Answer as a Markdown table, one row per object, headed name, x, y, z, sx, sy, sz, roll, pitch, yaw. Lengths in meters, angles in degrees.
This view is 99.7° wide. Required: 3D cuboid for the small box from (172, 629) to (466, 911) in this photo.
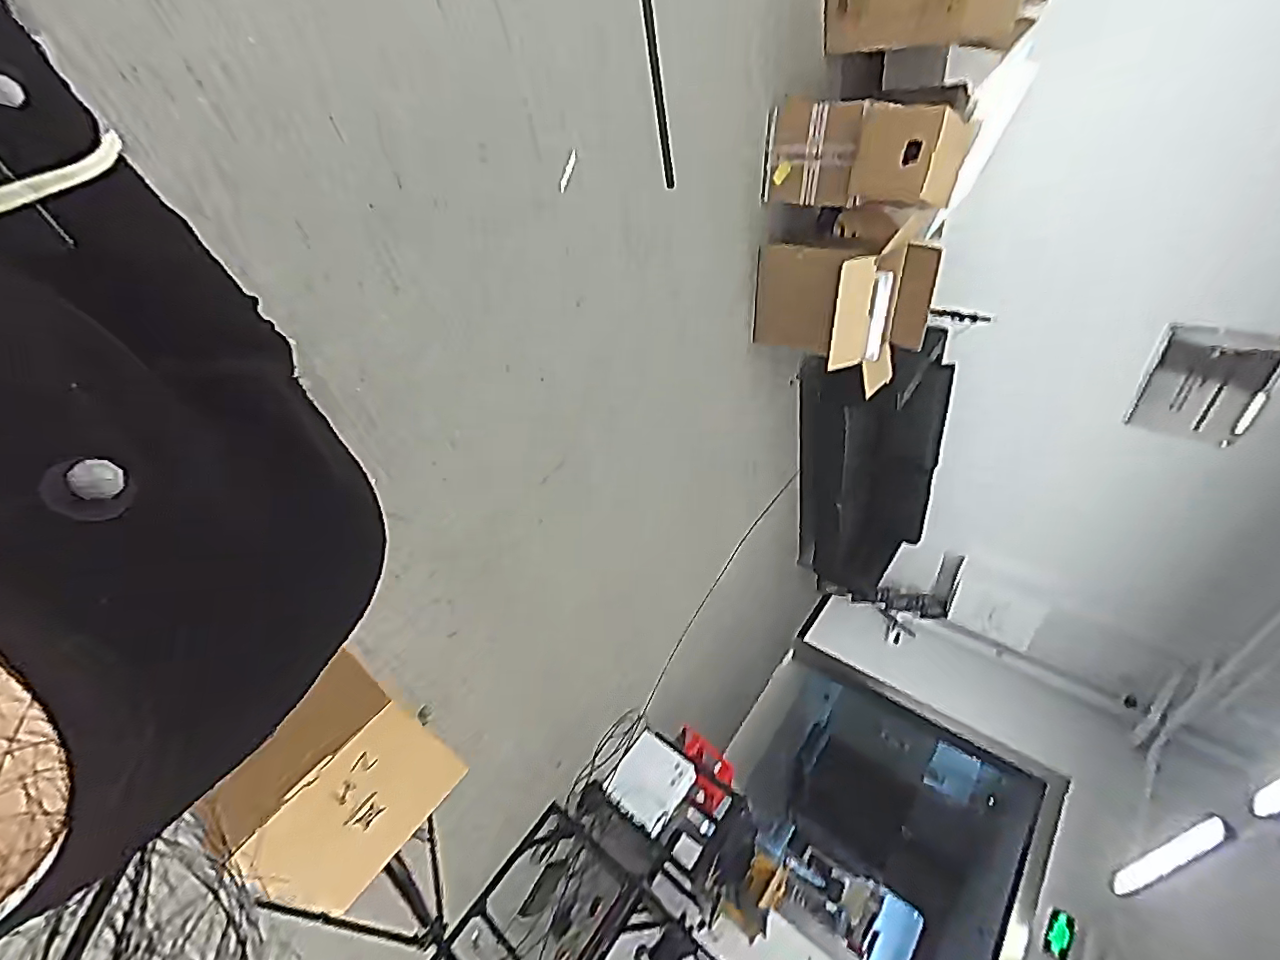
| name | x | y | z | sx | sy | sz | roll | pitch | yaw |
| --- | --- | --- | --- | --- | --- | --- | --- | --- | --- |
| small box | -0.322 | 0.287 | 0.559 | 0.168 | 0.176 | 0.179 | -45 | 138 | -30 |
